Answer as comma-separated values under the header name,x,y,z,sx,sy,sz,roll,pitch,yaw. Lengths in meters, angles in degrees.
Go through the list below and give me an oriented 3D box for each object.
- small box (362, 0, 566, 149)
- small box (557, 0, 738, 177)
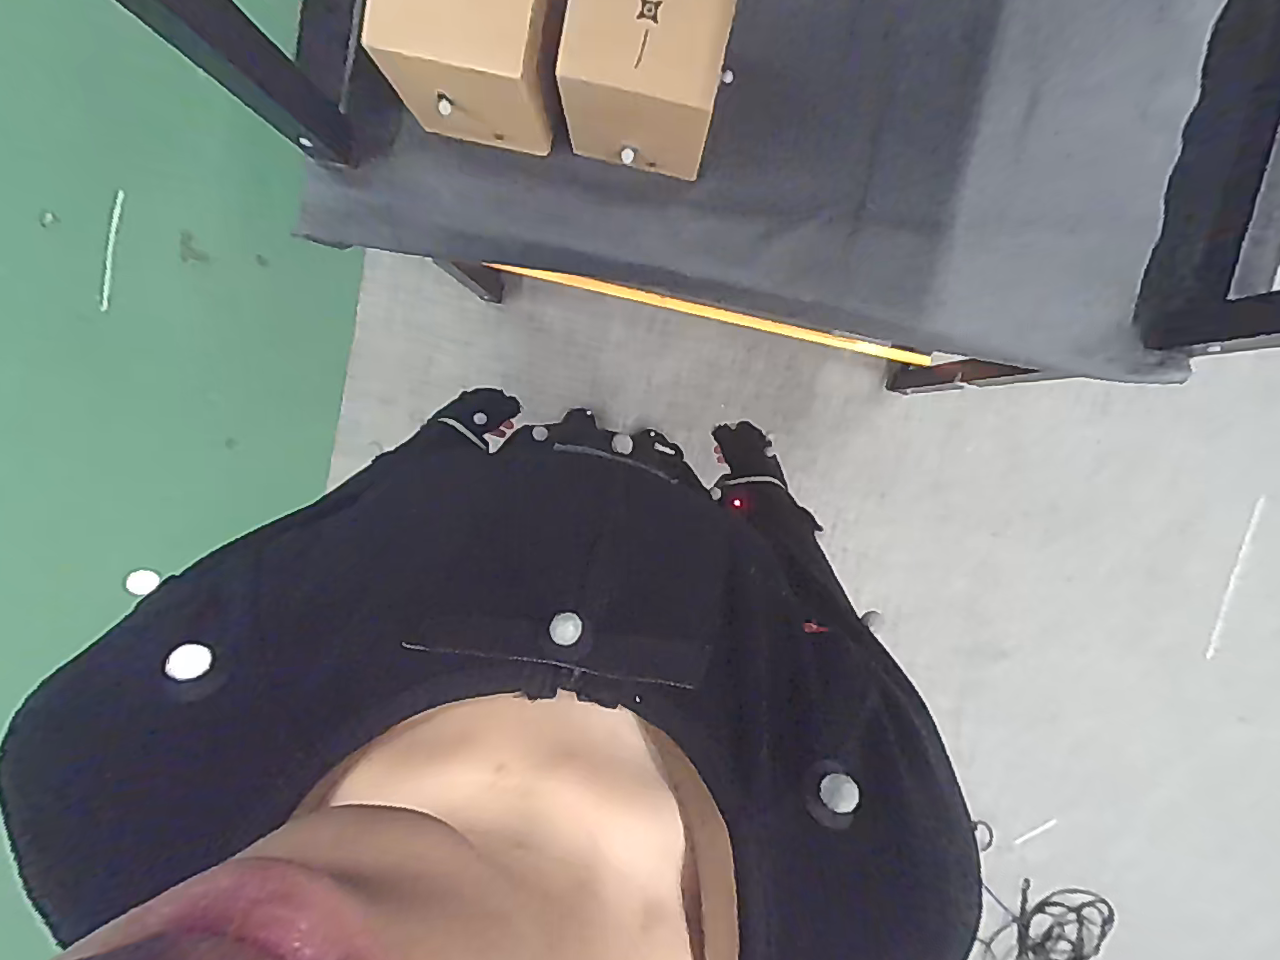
name,x,y,z,sx,sy,sz,roll,pitch,yaw
small box,-0.182,-0.513,0.611,0.168,0.176,0.179,11,95,-2
small box,0.013,-0.485,0.614,0.168,0.176,0.179,13,96,-1
